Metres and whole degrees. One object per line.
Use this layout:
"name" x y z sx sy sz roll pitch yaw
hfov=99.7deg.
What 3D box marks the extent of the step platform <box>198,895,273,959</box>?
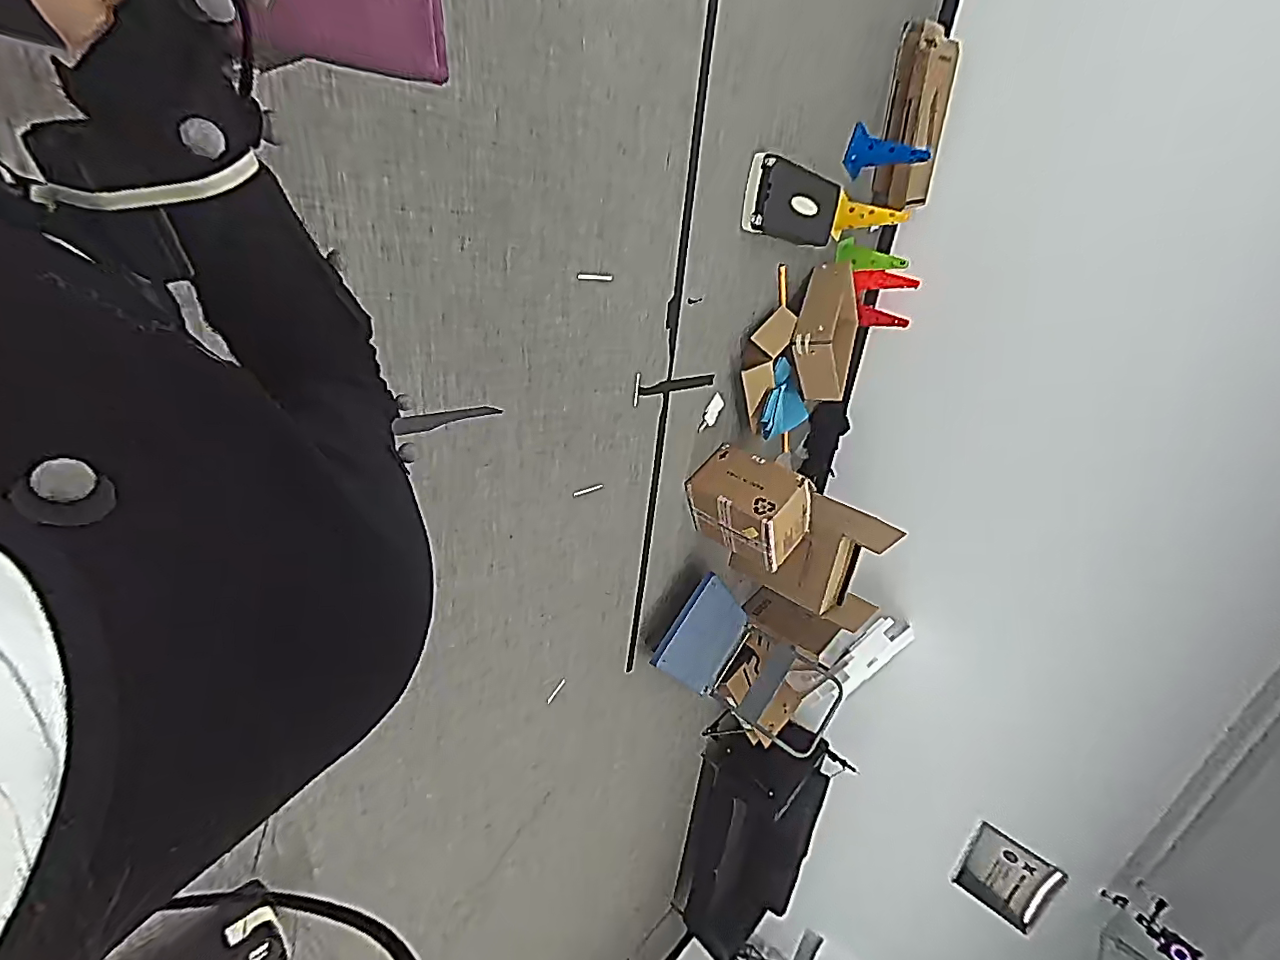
"step platform" -1.367 1.478 1.412 0.684 0.204 0.286 -20 126 -46
